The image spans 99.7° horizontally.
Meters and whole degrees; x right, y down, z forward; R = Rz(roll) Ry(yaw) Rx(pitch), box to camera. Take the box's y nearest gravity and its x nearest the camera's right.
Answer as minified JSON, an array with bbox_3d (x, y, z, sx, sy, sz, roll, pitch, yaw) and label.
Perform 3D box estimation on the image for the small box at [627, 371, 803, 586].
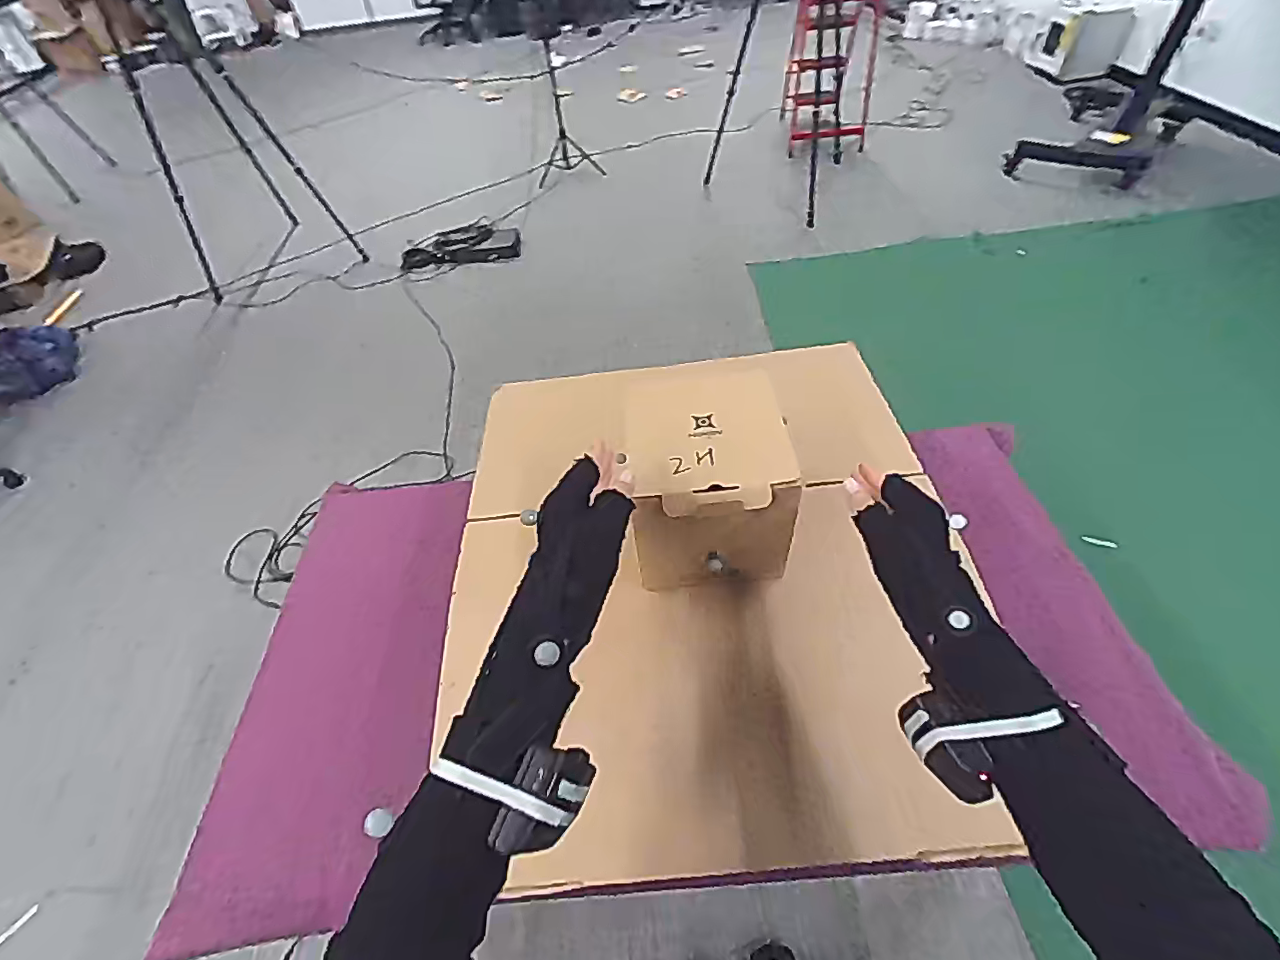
[{"bbox_3d":[0.074,0.000,0.621,0.168,0.176,0.179,-6,49,2],"label":"small box"}]
